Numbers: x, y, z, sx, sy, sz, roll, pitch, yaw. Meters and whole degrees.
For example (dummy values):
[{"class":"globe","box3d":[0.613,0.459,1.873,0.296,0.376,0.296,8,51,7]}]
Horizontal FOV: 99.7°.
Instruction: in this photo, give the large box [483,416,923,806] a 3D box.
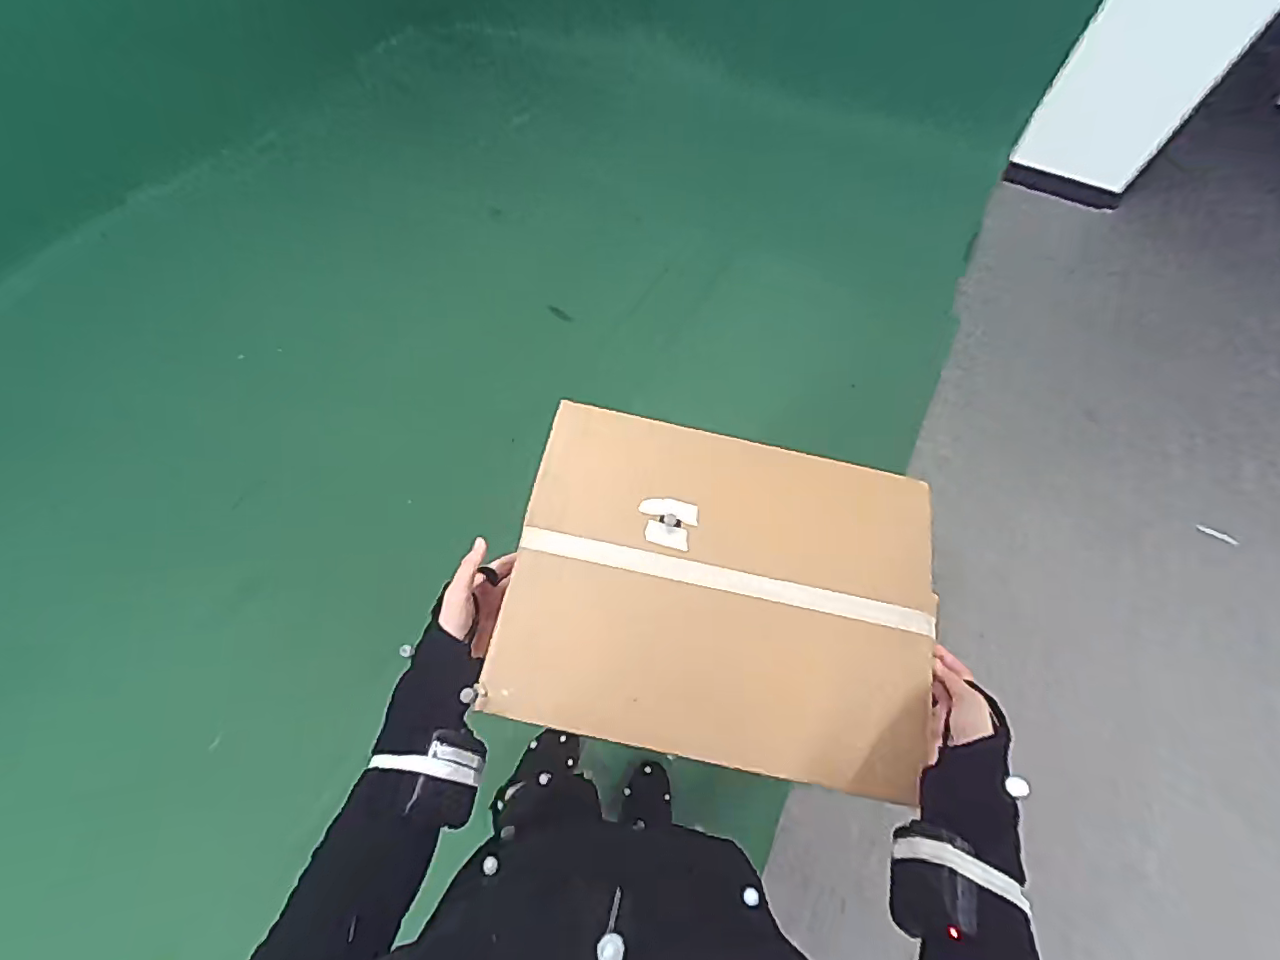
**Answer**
[{"class":"large box","box3d":[0.074,0.161,0.675,0.408,0.320,0.320,14,68,1]}]
